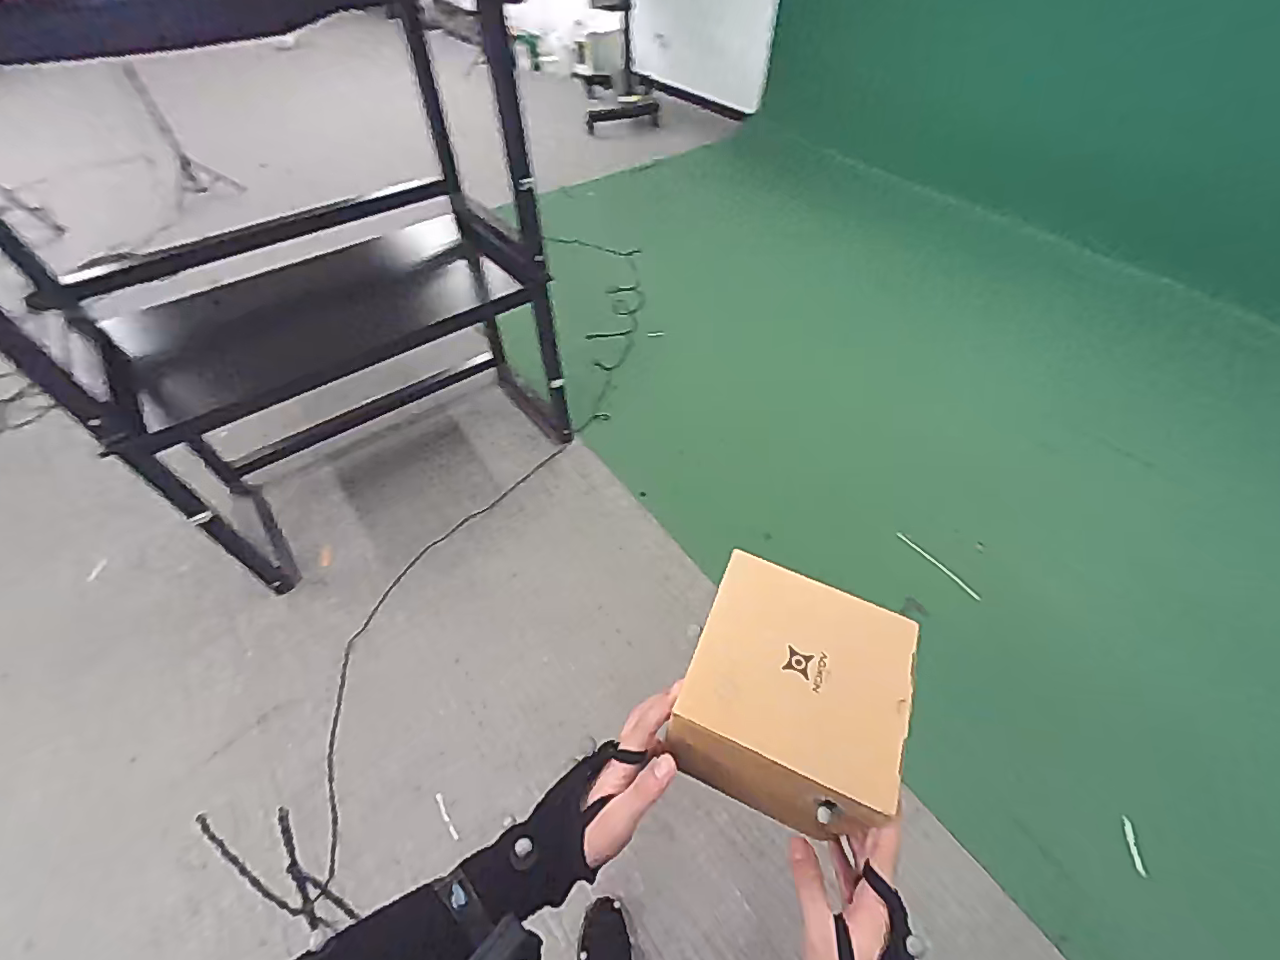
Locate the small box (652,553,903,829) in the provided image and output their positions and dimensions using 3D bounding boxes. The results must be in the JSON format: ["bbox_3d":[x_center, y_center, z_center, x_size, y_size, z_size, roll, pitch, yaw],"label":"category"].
[{"bbox_3d":[0.120,0.204,0.514,0.179,0.176,0.168,20,53,11],"label":"small box"}]
